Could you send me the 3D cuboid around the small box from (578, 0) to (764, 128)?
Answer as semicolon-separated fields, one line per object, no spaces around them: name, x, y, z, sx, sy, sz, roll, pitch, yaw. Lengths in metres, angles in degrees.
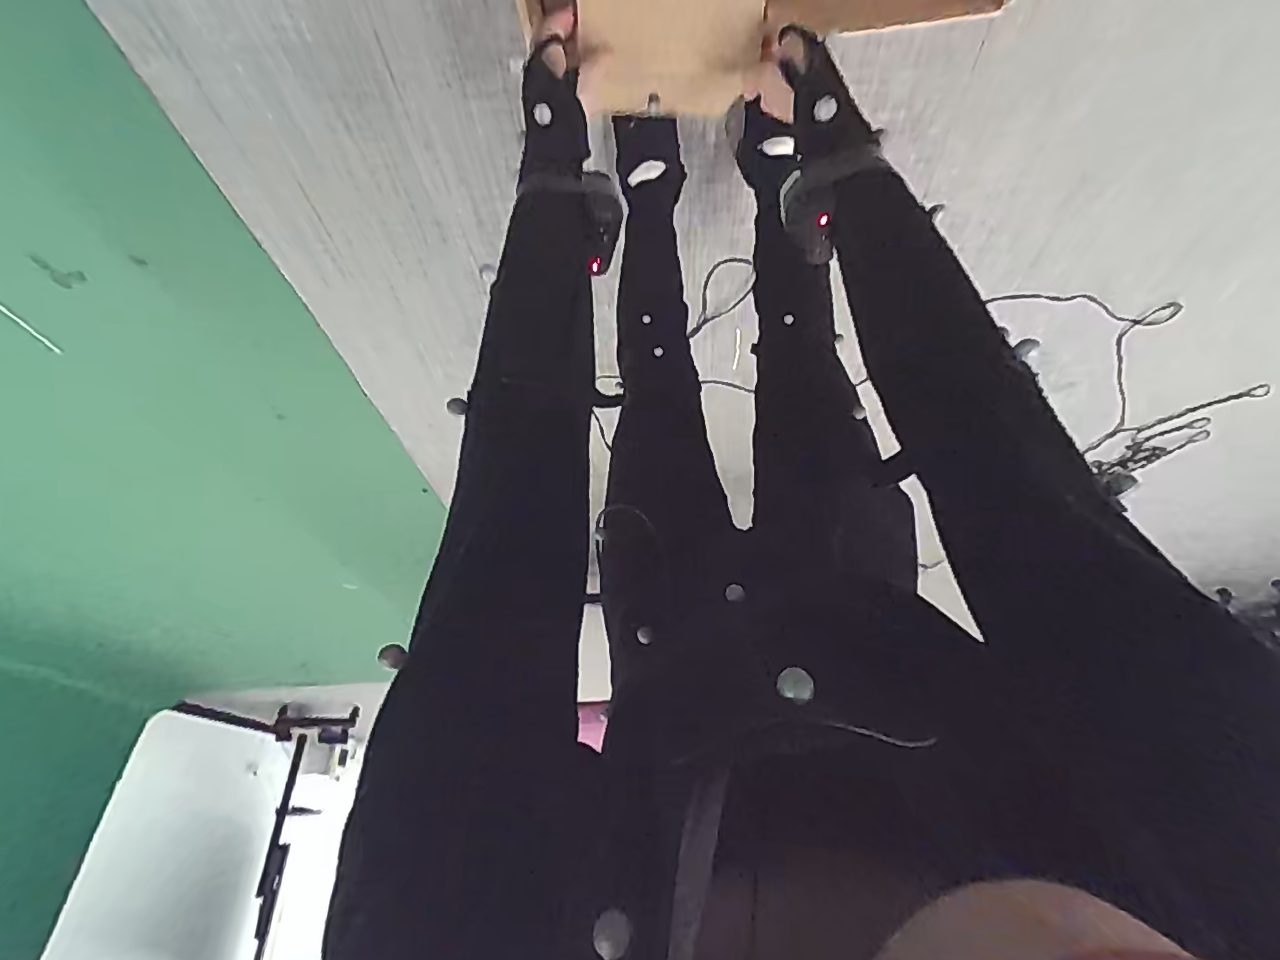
small box;0.023;-0.469;0.535;0.168;0.176;0.179;-1;110;-5
